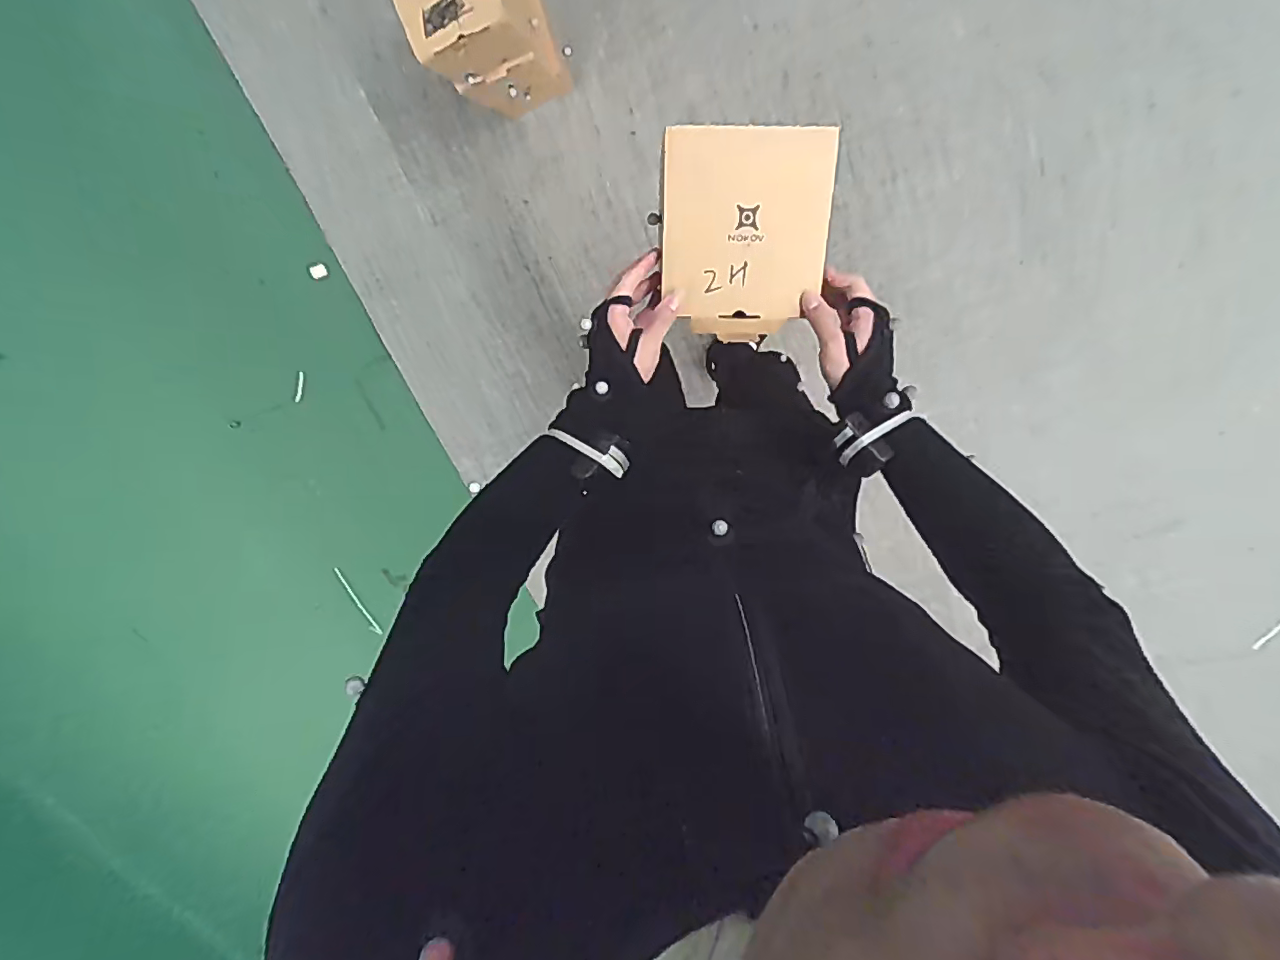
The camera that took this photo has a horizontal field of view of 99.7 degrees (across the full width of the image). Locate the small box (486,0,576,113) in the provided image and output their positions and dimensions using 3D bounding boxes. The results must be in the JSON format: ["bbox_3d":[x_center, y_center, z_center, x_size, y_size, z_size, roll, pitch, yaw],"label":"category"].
[{"bbox_3d":[-0.260,-0.933,1.183,0.179,0.176,0.168,-12,114,12],"label":"small box"}]

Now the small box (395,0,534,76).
[{"bbox_3d":[-0.294,-0.798,0.886,0.168,0.176,0.179,-14,113,13],"label":"small box"}]

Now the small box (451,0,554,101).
[{"bbox_3d":[-0.282,-0.859,1.039,0.168,0.176,0.179,-13,114,13],"label":"small box"}]

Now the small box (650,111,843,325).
[{"bbox_3d":[0.102,-0.278,0.603,0.168,0.176,0.179,7,111,0],"label":"small box"}]
